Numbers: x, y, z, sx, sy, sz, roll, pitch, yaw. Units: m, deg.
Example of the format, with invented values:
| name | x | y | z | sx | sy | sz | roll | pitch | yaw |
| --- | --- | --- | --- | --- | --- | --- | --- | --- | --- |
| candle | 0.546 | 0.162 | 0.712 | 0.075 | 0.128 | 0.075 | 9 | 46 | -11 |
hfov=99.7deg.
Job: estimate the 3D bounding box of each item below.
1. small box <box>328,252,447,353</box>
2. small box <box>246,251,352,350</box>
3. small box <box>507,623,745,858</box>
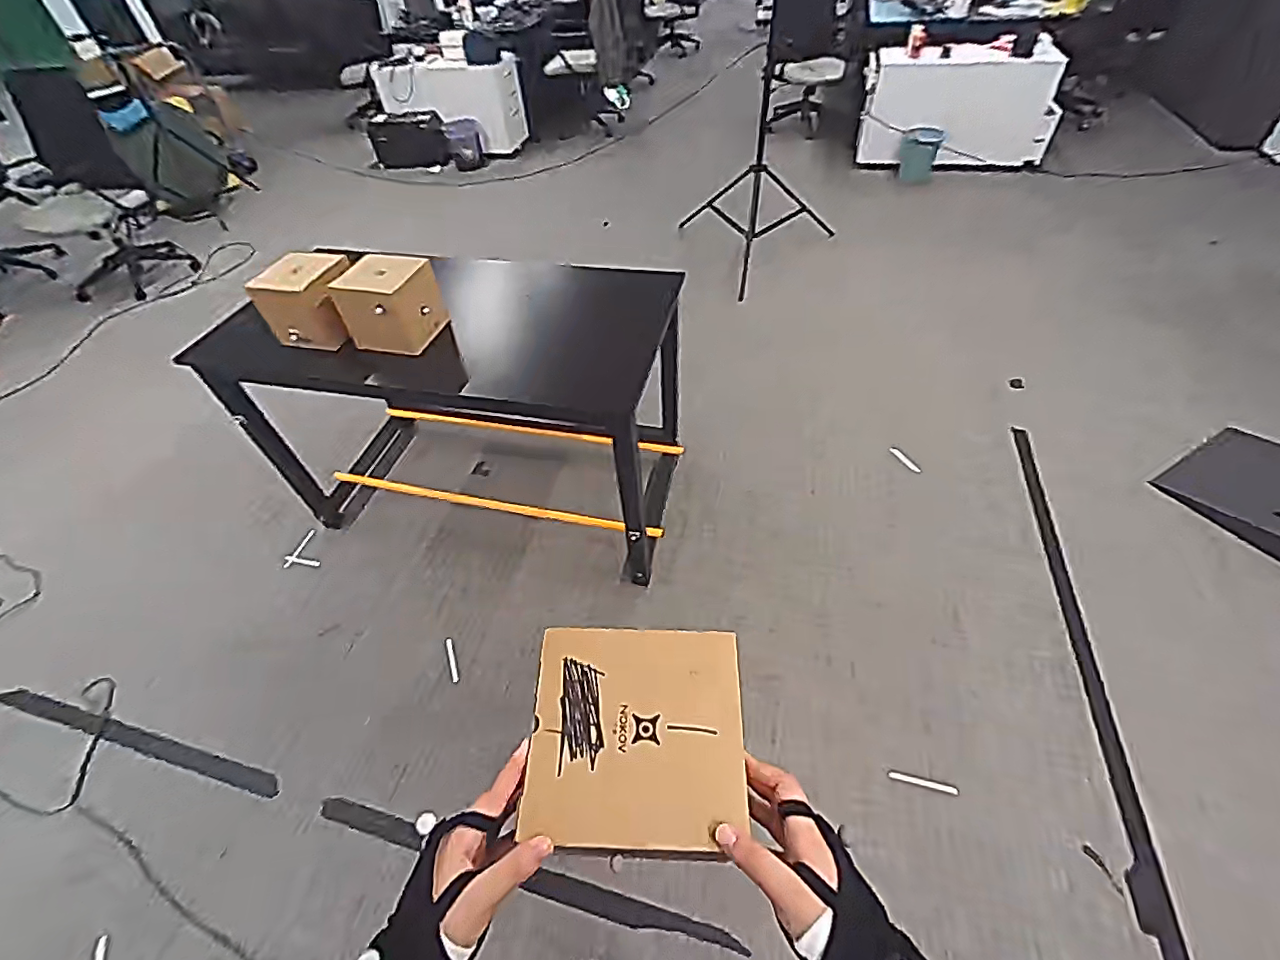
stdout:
| name | x | y | z | sx | sy | sz | roll | pitch | yaw |
| --- | --- | --- | --- | --- | --- | --- | --- | --- | --- |
| small box | -0.601 | -0.430 | 1.318 | 0.179 | 0.176 | 0.168 | 9 | 49 | 13 |
| small box | -0.817 | -0.450 | 1.355 | 0.168 | 0.176 | 0.179 | 7 | 50 | 12 |
| small box | -0.005 | 0.243 | 0.498 | 0.179 | 0.176 | 0.168 | 1 | 54 | 2 |
